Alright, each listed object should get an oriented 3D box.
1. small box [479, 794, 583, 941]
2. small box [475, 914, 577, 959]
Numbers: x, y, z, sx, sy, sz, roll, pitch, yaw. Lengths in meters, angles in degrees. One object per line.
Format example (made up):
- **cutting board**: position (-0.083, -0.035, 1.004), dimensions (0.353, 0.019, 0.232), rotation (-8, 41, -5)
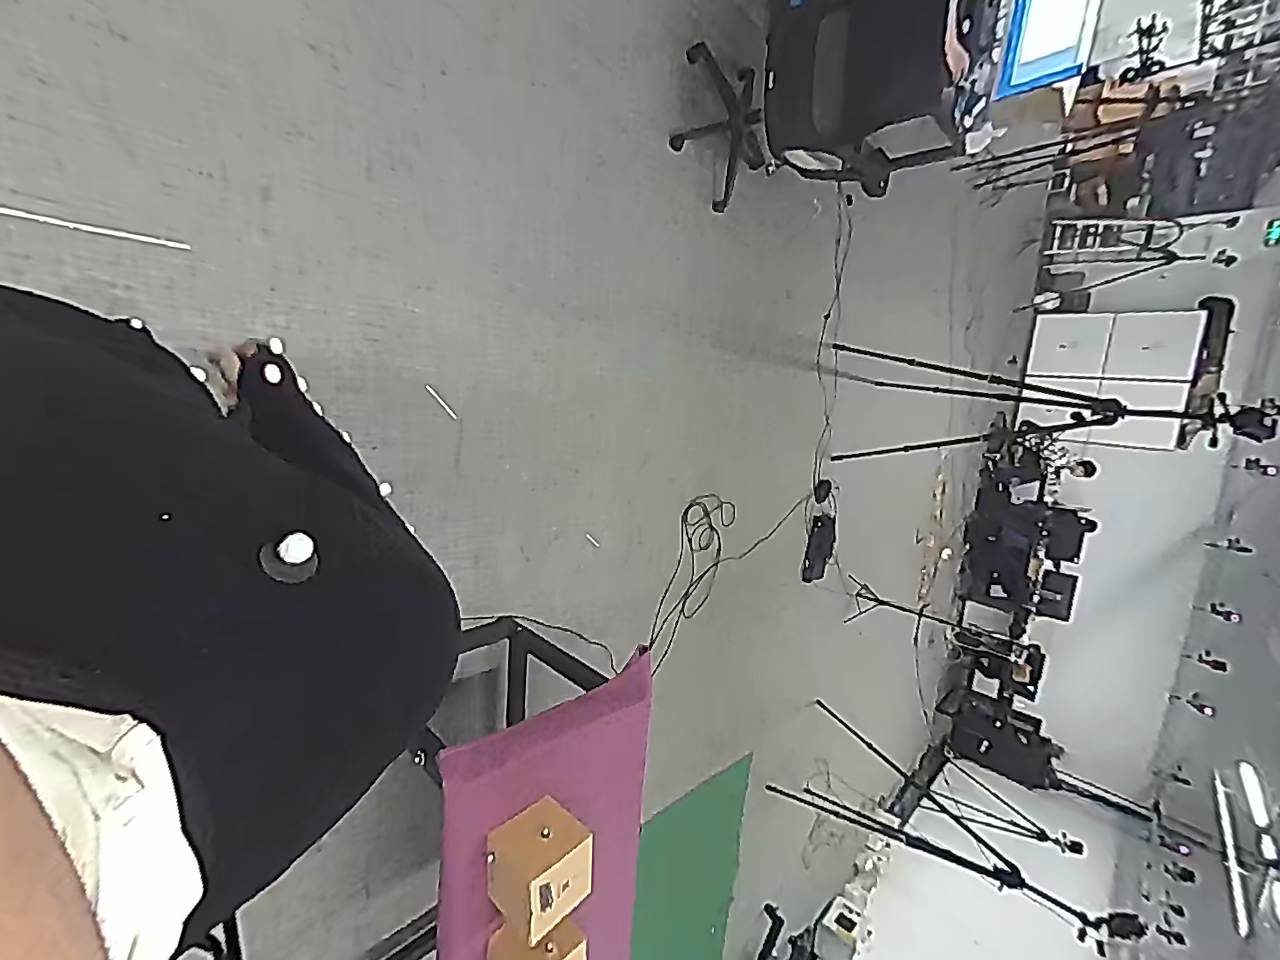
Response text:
- **small box**: position (-0.252, 0.871, 1.235), dimensions (0.179, 0.176, 0.168), rotation (-9, 108, -47)
- **small box**: position (-0.275, 1.151, 1.290), dimensions (0.179, 0.176, 0.168), rotation (-4, 102, -45)
